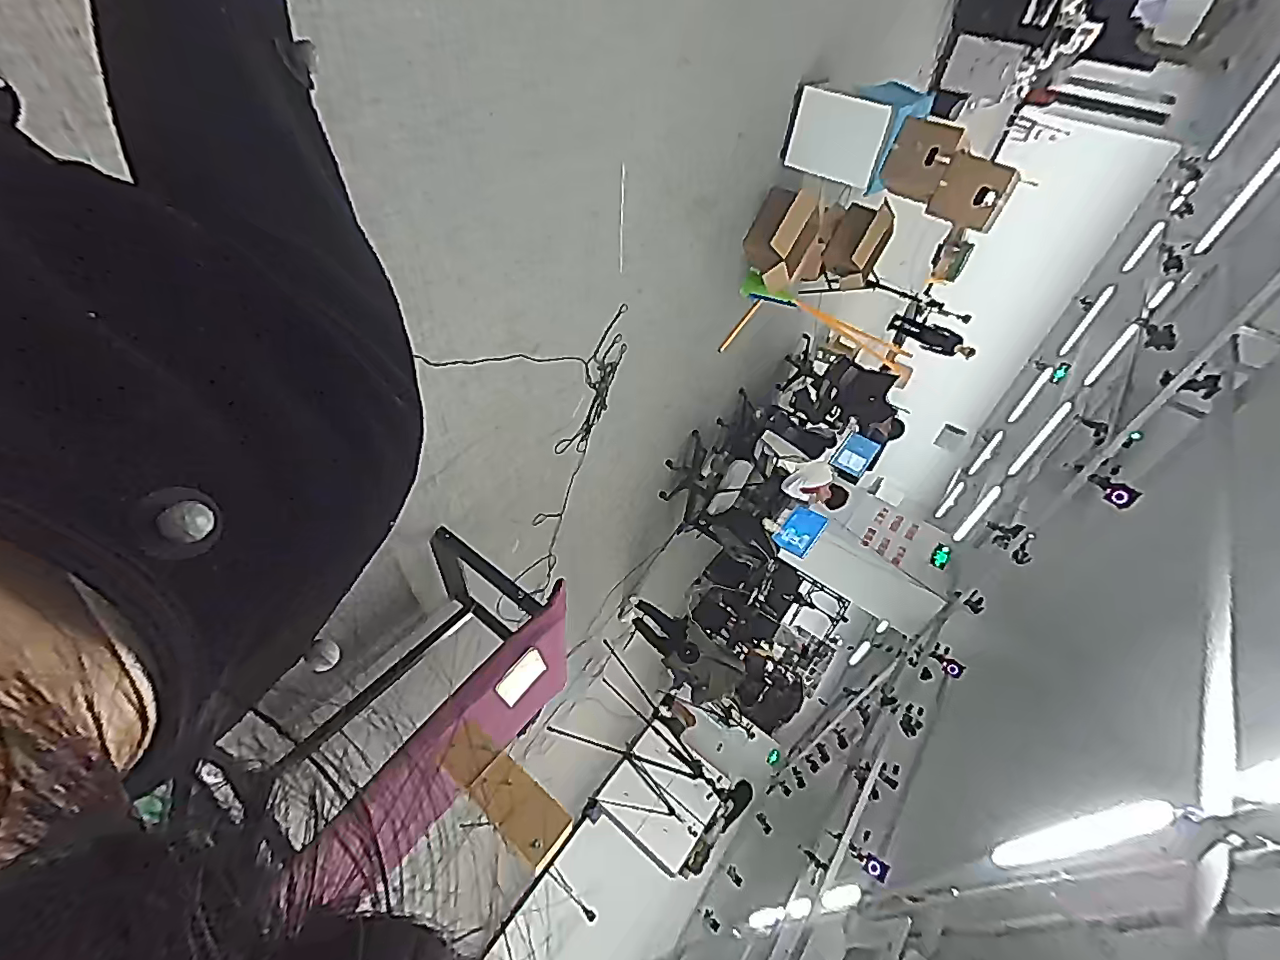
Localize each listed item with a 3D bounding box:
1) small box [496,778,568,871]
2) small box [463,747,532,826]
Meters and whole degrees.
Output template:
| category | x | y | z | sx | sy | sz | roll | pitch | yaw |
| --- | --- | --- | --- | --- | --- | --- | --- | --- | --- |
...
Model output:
| category | x | y | z | sx | sy | sz | roll | pitch | yaw |
| --- | --- | --- | --- | --- | --- | --- | --- | --- | --- |
| small box | -0.362 | 1.140 | 1.793 | 0.179 | 0.176 | 0.168 | -41 | 155 | -38 |
| small box | -0.489 | 1.057 | 1.859 | 0.168 | 0.176 | 0.179 | -42 | 155 | -36 |
